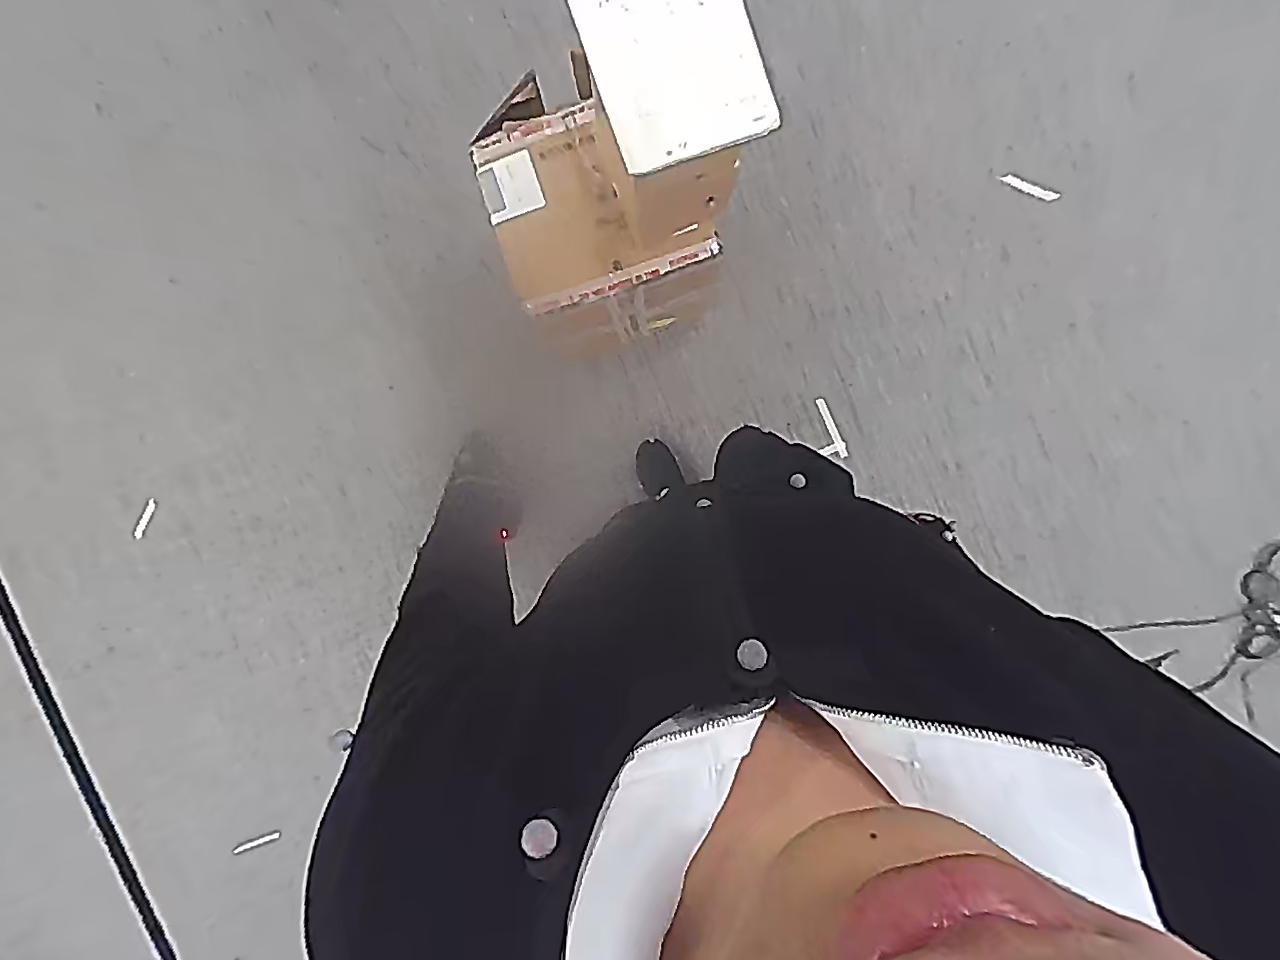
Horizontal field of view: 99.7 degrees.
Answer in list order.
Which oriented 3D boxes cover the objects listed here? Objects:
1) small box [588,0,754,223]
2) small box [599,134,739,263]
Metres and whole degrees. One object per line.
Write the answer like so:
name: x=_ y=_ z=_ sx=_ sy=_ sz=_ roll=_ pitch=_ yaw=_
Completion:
small box: x=0.038 y=-0.499 z=0.755 sx=0.168 sy=0.176 sz=0.179 roll=-22 pitch=93 yaw=1
small box: x=0.045 y=-0.502 z=0.919 sx=0.179 sy=0.176 sz=0.168 roll=-24 pitch=93 yaw=3
